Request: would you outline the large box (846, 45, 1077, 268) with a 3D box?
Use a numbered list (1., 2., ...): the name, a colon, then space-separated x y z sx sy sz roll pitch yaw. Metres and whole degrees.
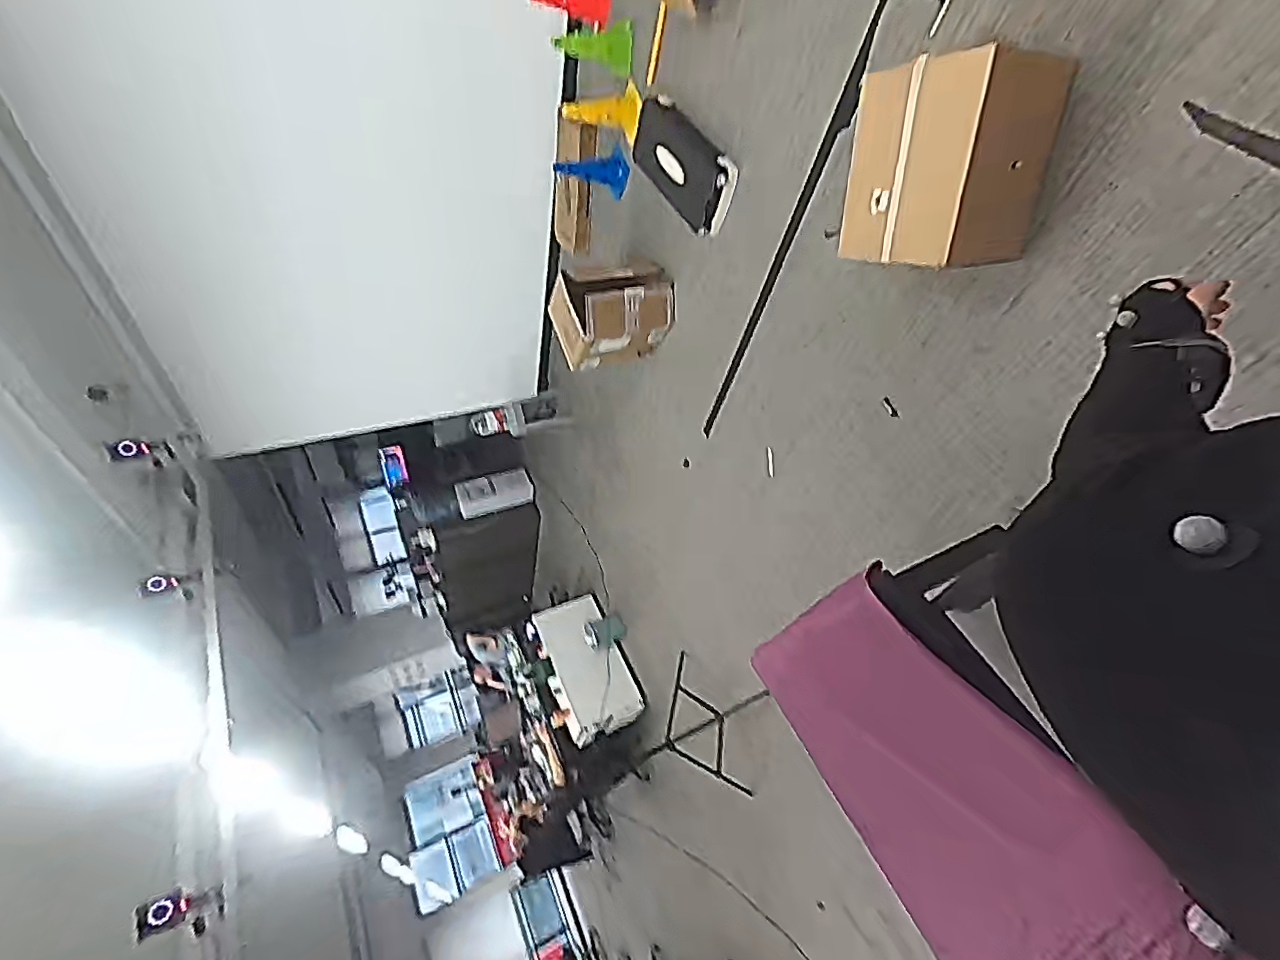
1. large box: 0.740 -0.740 1.286 0.320 0.320 0.408 39 138 52
